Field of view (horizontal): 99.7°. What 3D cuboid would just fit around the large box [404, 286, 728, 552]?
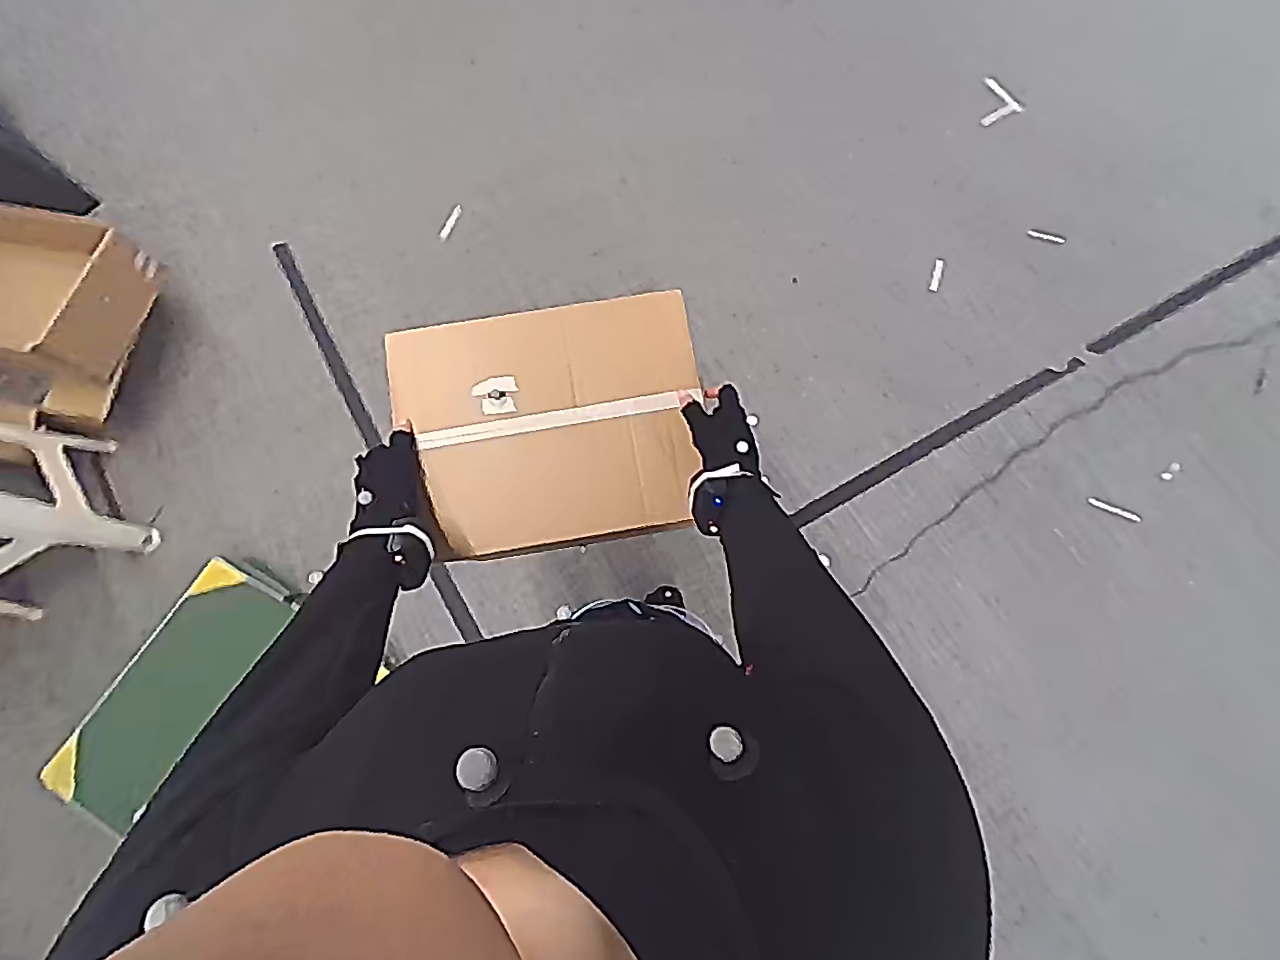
[{"bbox_3d":[-0.102,-0.069,0.865,0.408,0.320,0.320,-8,82,-2],"label":"large box"}]
